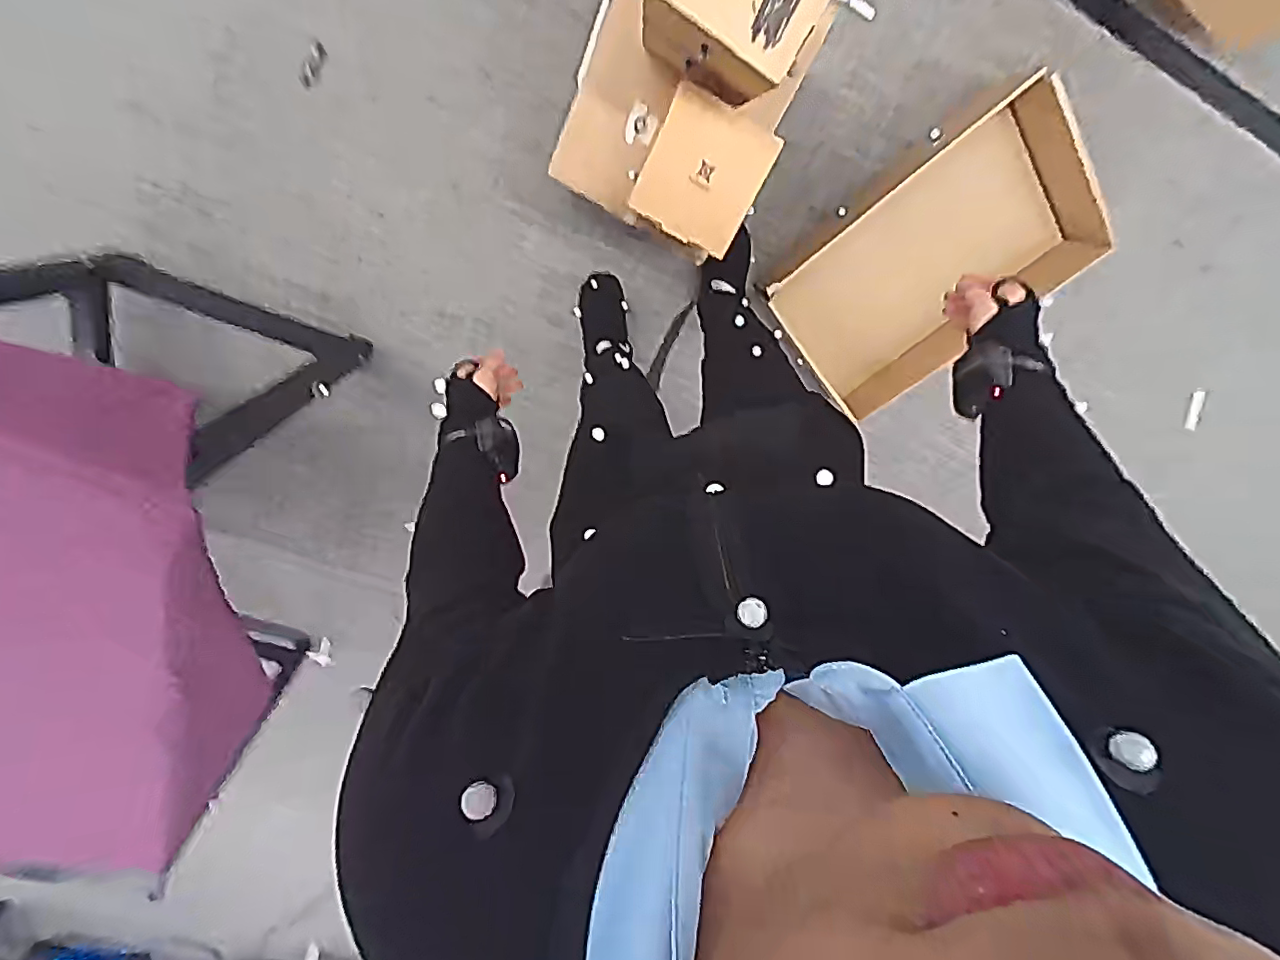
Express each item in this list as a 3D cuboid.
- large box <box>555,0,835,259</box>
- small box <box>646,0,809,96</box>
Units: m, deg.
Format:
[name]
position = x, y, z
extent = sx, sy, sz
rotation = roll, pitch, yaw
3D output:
[large box]
position = 0.074, -0.690, 0.990
extent = 0.320, 0.320, 0.408
rotation = 24, 118, -13
[small box]
position = 0.121, -0.652, 0.729
extent = 0.179, 0.176, 0.168
rotation = 26, 118, -15
